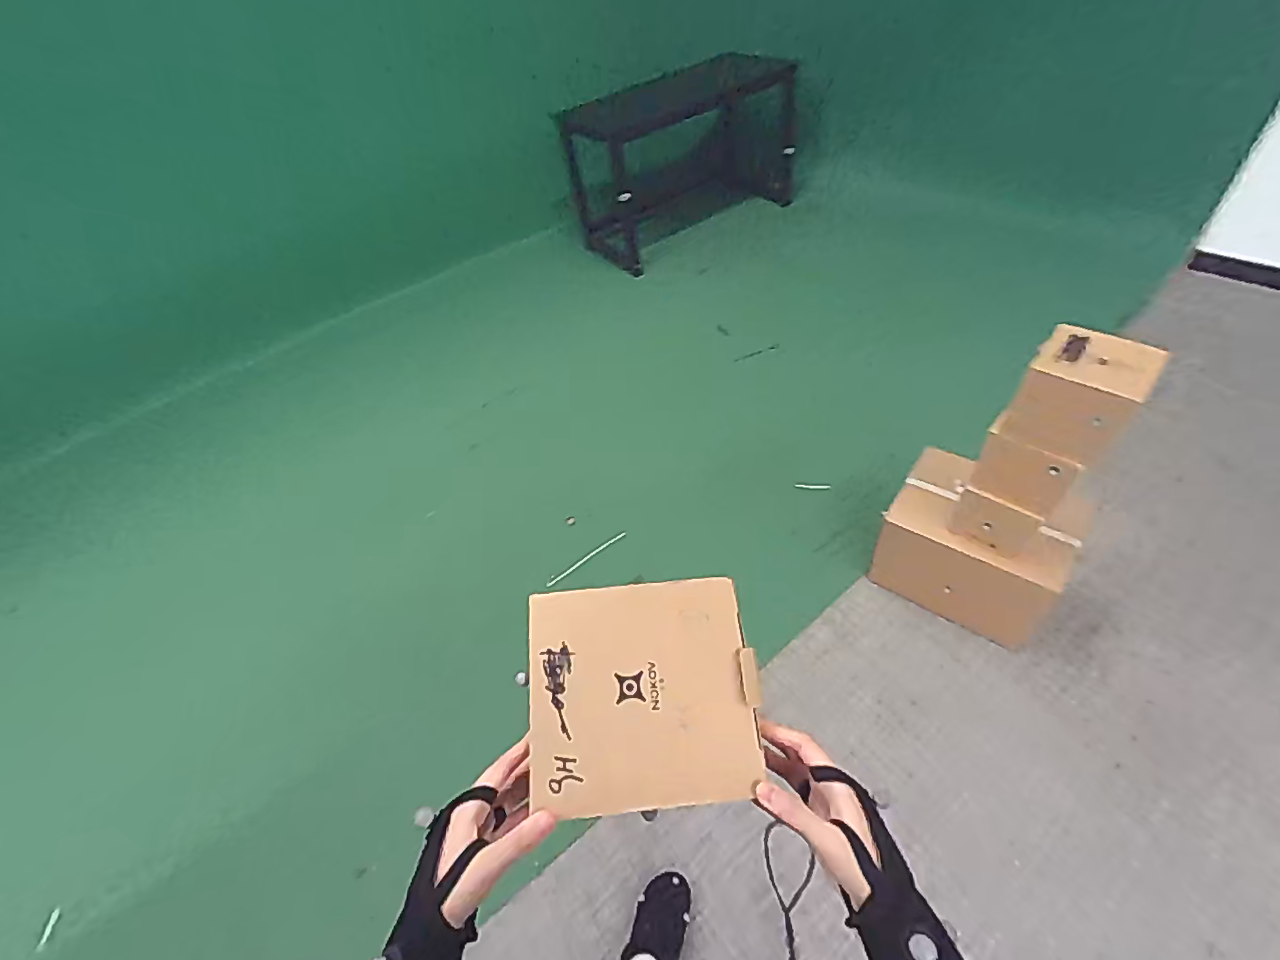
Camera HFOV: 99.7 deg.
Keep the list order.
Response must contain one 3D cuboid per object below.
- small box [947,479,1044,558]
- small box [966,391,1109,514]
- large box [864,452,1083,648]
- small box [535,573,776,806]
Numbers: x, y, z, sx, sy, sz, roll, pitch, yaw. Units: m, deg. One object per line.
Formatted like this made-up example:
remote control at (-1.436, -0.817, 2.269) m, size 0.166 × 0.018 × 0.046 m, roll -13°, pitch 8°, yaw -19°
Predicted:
small box at (0.860, 0.054, 1.283) m, size 0.168 × 0.176 × 0.179 m, roll 32°, pitch 61°, yaw 32°
small box at (0.844, -0.056, 1.165) m, size 0.179 × 0.176 × 0.168 m, roll 33°, pitch 62°, yaw 33°
large box at (0.894, 0.187, 1.491) m, size 0.408 × 0.320 × 0.320 m, roll 25°, pitch 56°, yaw 31°
small box at (0.005, 0.189, 0.489) m, size 0.179 × 0.176 × 0.168 m, roll -3°, pitch 62°, yaw -3°
